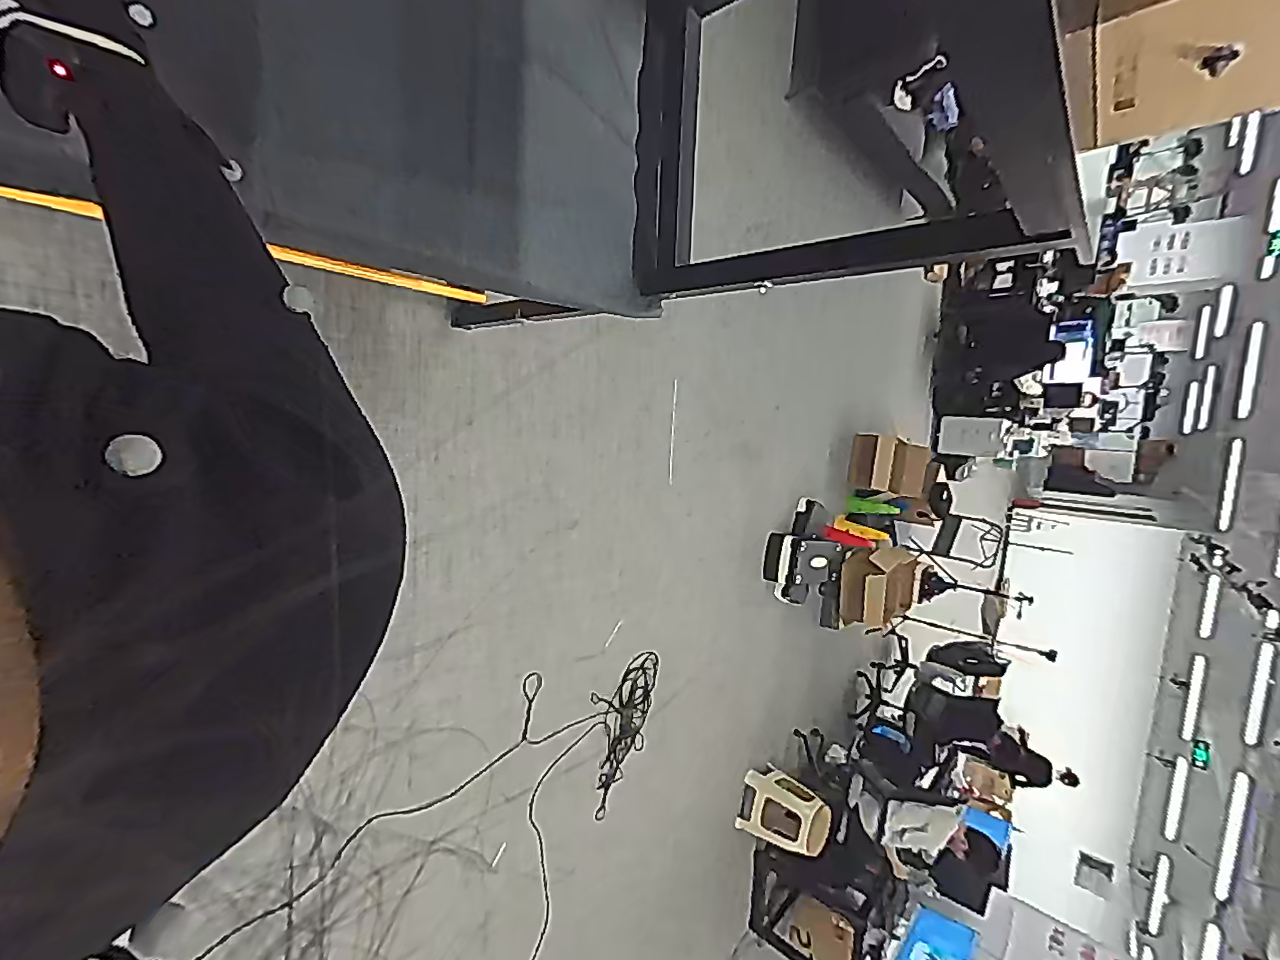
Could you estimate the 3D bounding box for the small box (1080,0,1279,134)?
[{"bbox_3d":[0.482,-0.434,0.448,0.168,0.176,0.179,13,86,-50],"label":"small box"}]
